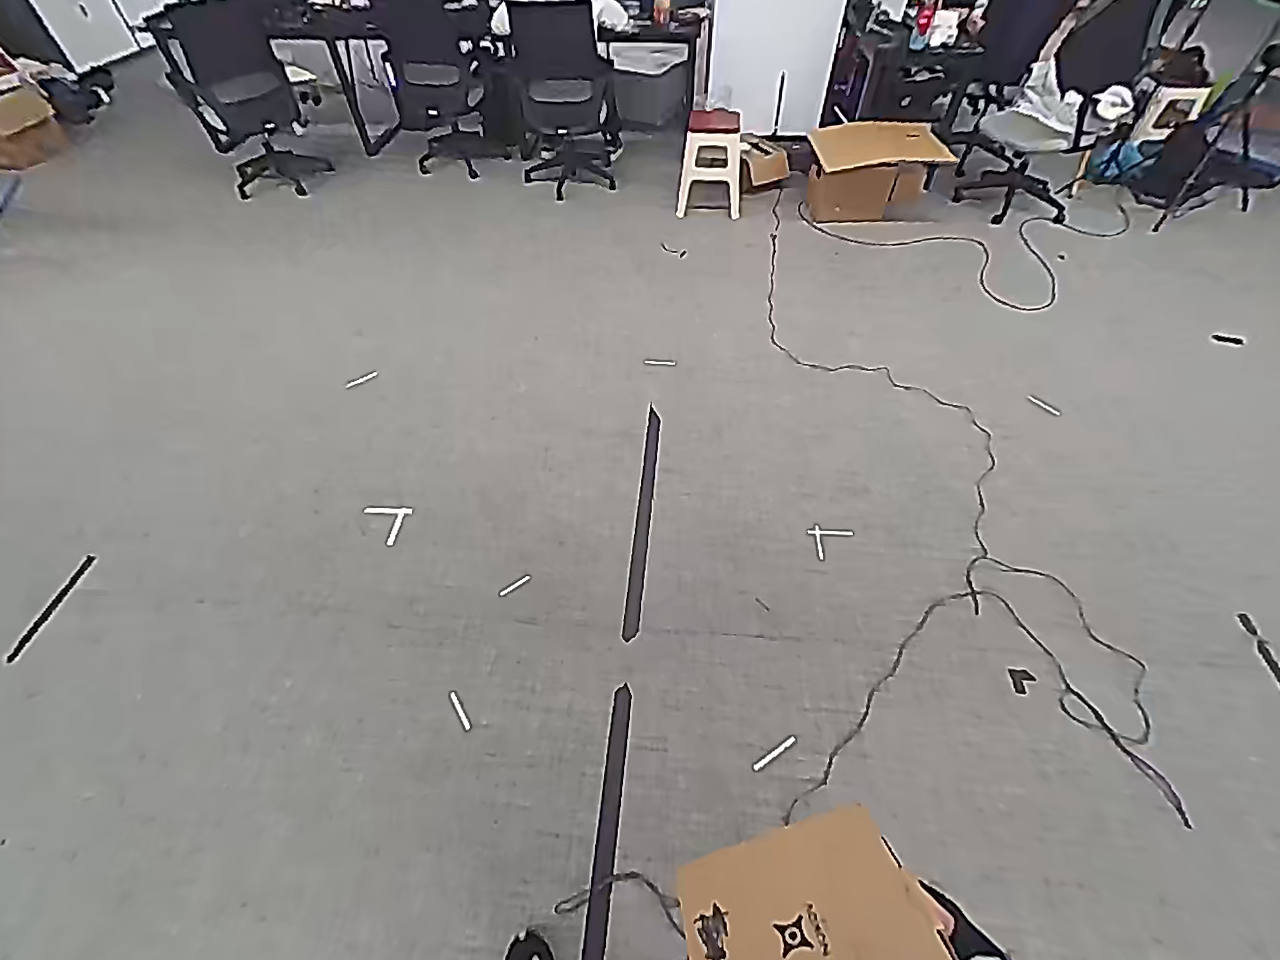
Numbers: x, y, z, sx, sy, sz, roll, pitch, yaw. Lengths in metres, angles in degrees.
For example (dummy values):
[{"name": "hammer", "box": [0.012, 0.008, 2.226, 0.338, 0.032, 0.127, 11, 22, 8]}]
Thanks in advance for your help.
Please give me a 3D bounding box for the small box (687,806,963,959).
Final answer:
[{"name": "small box", "box": [0.151, 0.407, 0.420, 0.179, 0.176, 0.168, -18, 14, 0]}]
